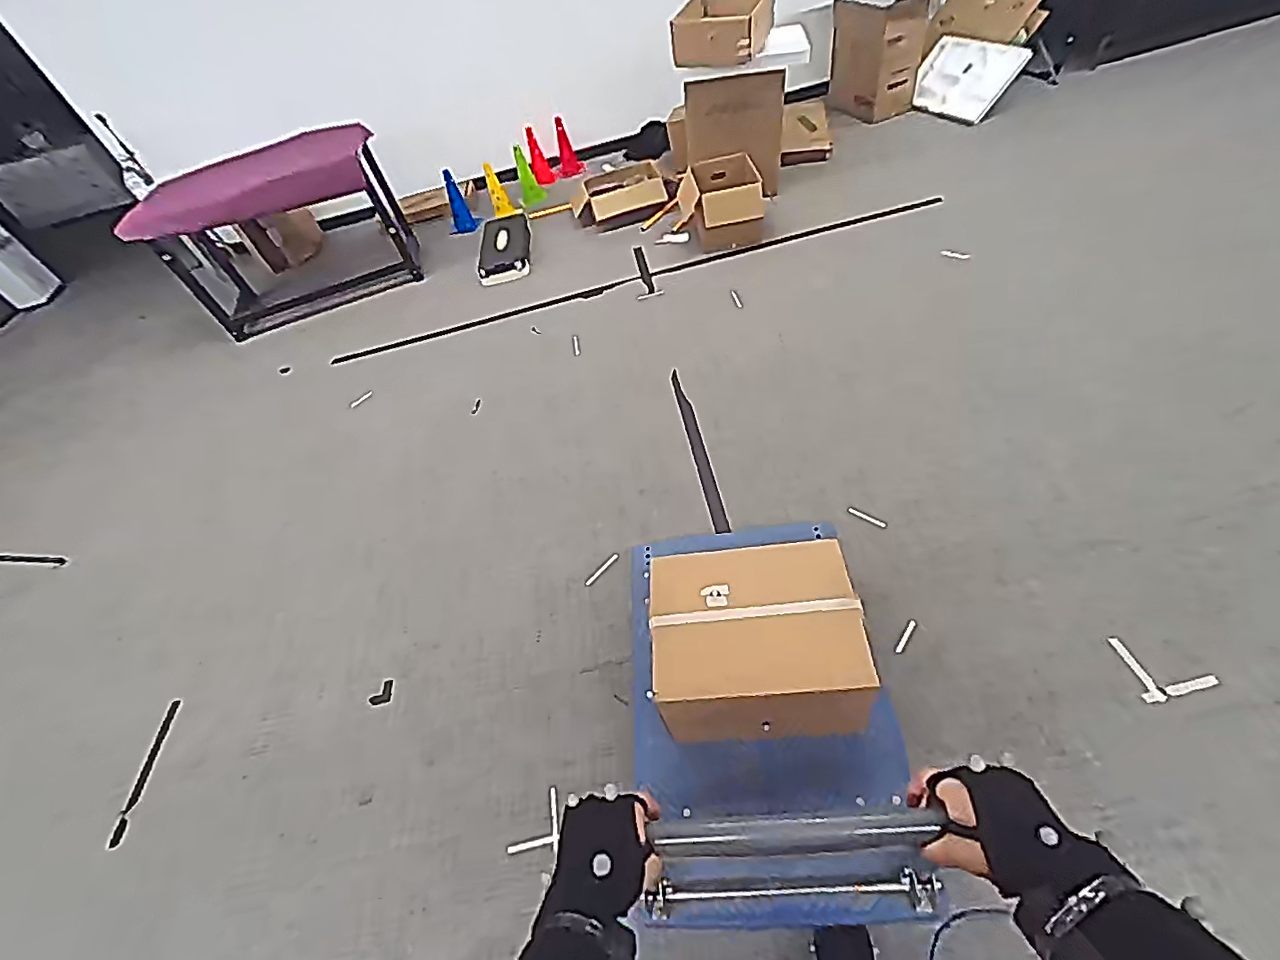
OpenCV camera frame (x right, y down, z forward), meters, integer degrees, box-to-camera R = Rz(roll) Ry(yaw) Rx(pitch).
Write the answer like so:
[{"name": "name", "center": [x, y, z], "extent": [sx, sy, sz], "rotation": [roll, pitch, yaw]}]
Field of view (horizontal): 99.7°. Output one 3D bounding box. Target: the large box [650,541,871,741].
[{"name": "large box", "center": [0.251, 0.369, 1.203], "extent": [0.408, 0.320, 0.320], "rotation": [-8, 48, 9]}]
